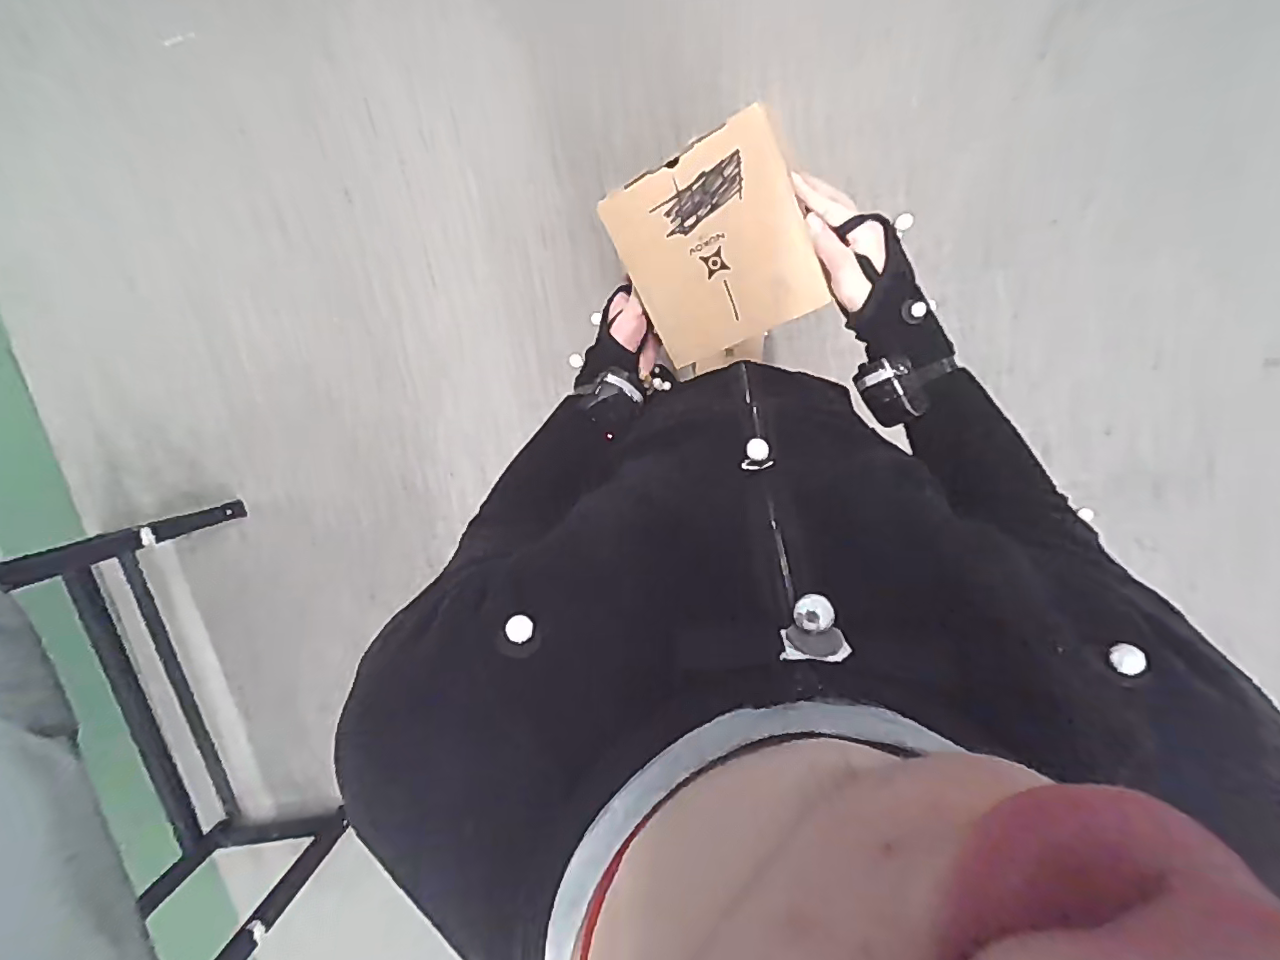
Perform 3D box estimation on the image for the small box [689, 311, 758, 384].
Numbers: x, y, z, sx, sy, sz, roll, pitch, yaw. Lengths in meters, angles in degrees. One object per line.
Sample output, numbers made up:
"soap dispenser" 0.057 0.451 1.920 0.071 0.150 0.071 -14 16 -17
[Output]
"small box" 0.214 -0.343 1.416 0.168 0.176 0.179 1 103 7
